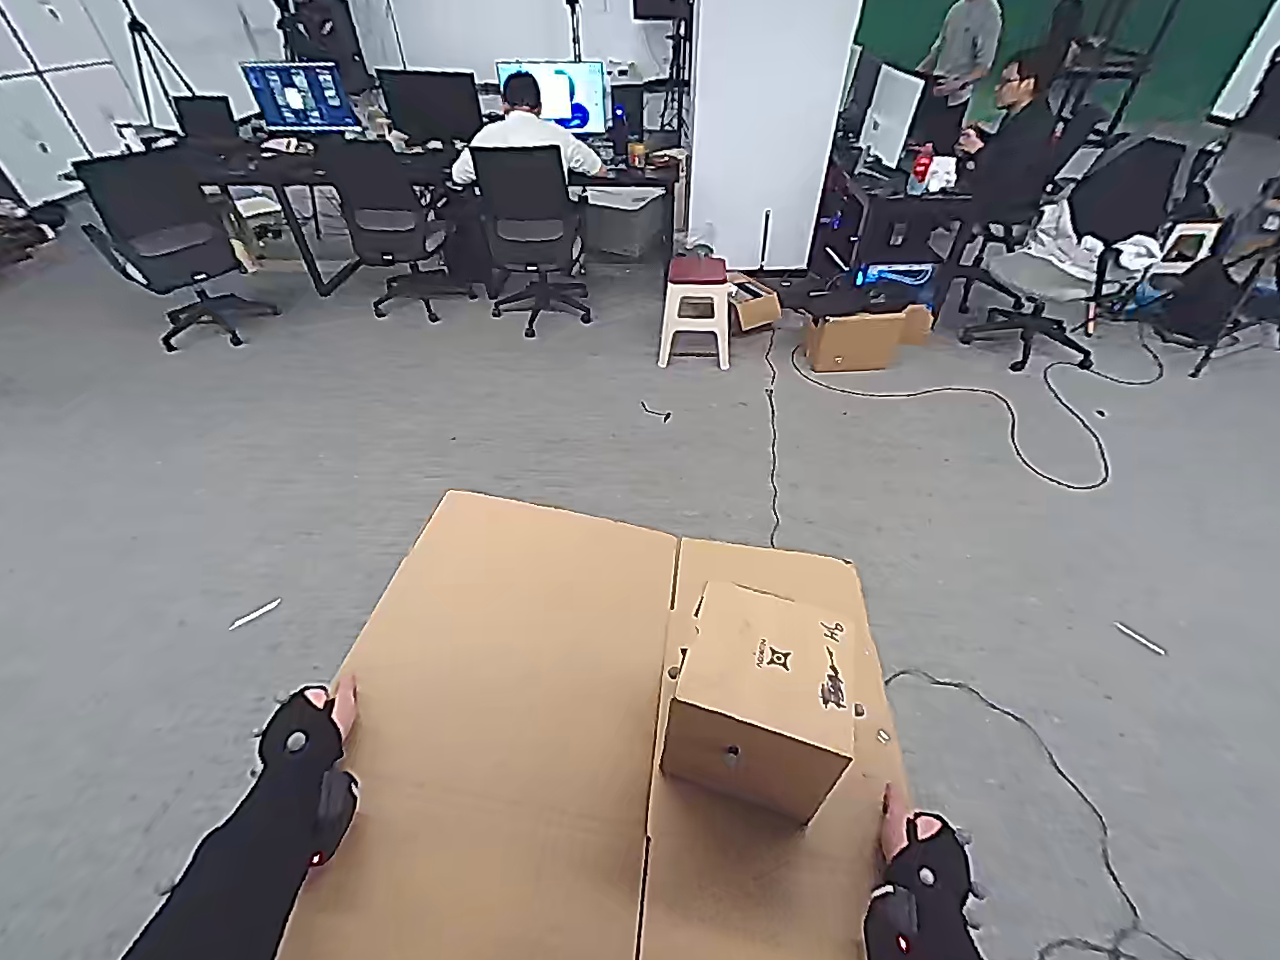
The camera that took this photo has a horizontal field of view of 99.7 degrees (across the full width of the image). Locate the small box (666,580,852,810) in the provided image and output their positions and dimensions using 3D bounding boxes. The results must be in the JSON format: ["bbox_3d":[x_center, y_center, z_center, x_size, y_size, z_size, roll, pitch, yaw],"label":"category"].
[{"bbox_3d":[0.134,0.250,0.631,0.179,0.176,0.168,13,41,12],"label":"small box"}]
